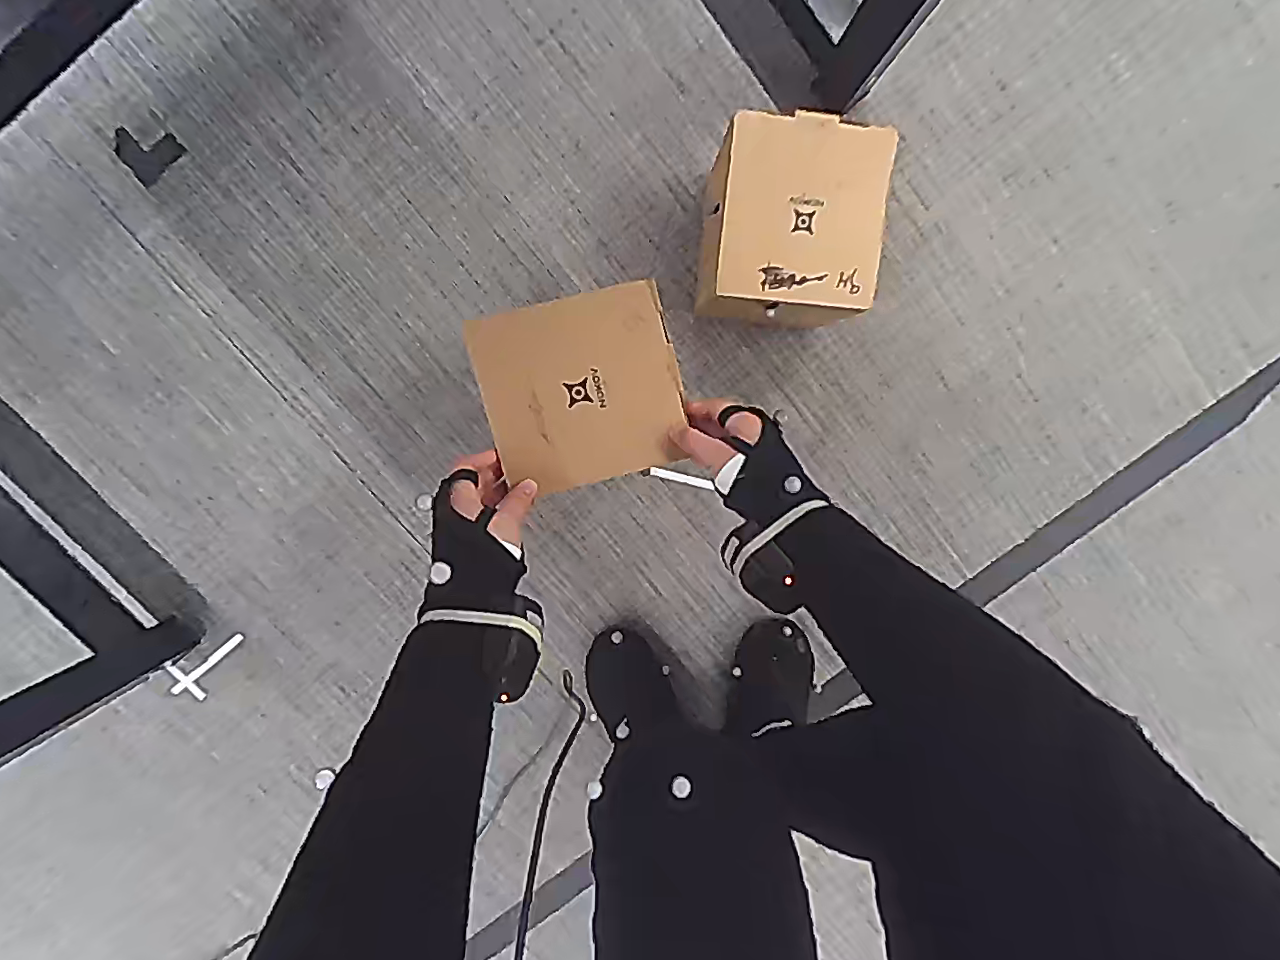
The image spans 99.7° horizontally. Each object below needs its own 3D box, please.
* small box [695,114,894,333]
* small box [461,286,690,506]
[{"bbox_3d":[0.160,-0.275,0.618,0.168,0.176,0.179,4,98,-2],"label":"small box"},{"bbox_3d":[-0.063,-0.084,0.566,0.179,0.176,0.168,-15,96,-3],"label":"small box"}]
